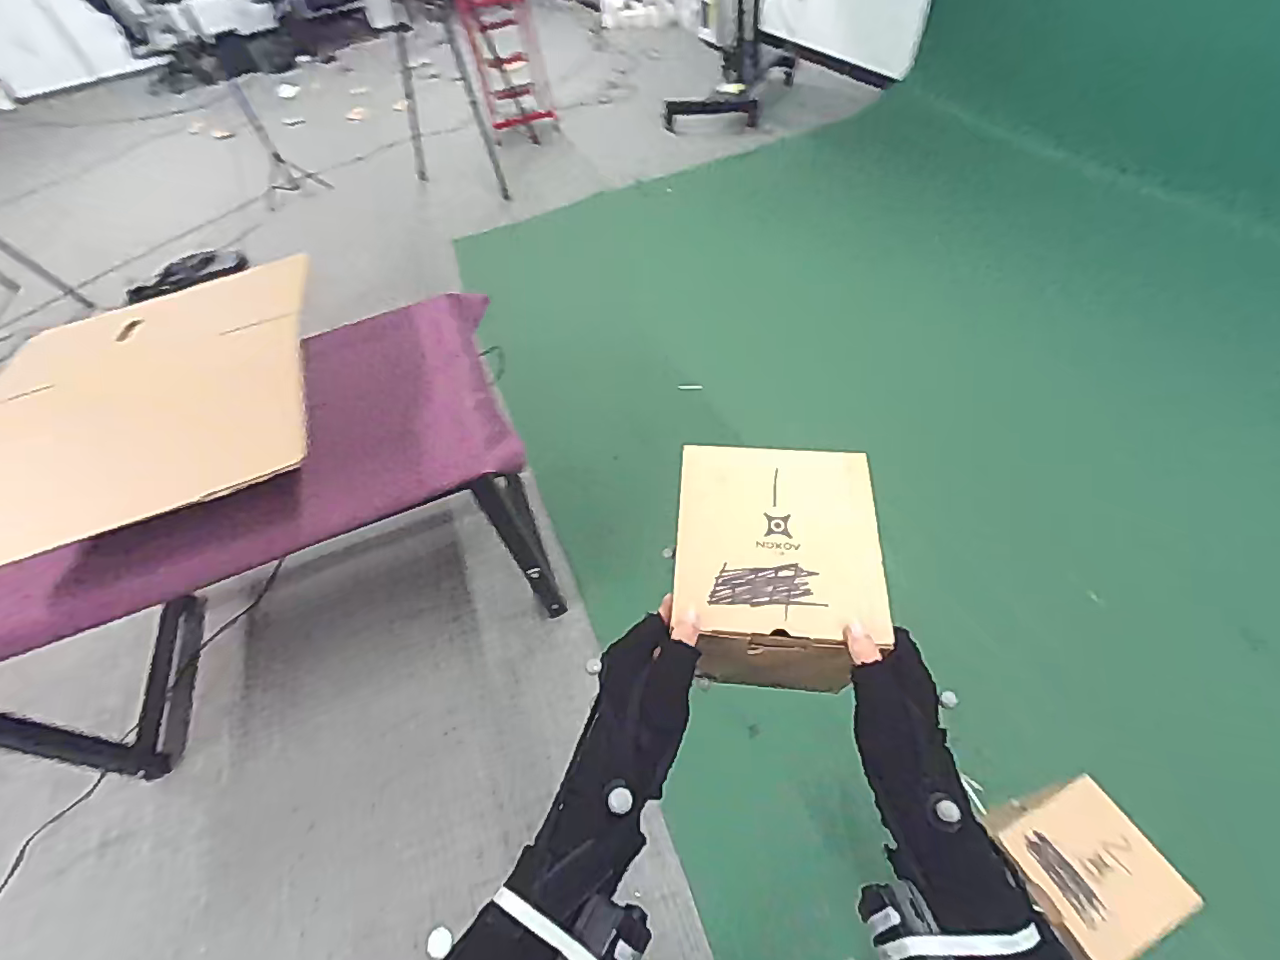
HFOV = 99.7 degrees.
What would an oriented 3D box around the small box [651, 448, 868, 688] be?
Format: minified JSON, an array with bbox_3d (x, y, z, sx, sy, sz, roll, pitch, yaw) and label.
[{"bbox_3d":[0.102,0.090,0.519,0.168,0.176,0.179,3,56,5],"label":"small box"}]

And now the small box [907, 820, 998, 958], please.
[{"bbox_3d":[0.657,0.778,1.046,0.179,0.176,0.168,-23,52,-9],"label":"small box"}]

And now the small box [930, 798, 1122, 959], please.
[{"bbox_3d":[0.637,0.676,0.920,0.179,0.176,0.168,-25,53,-10],"label":"small box"}]
